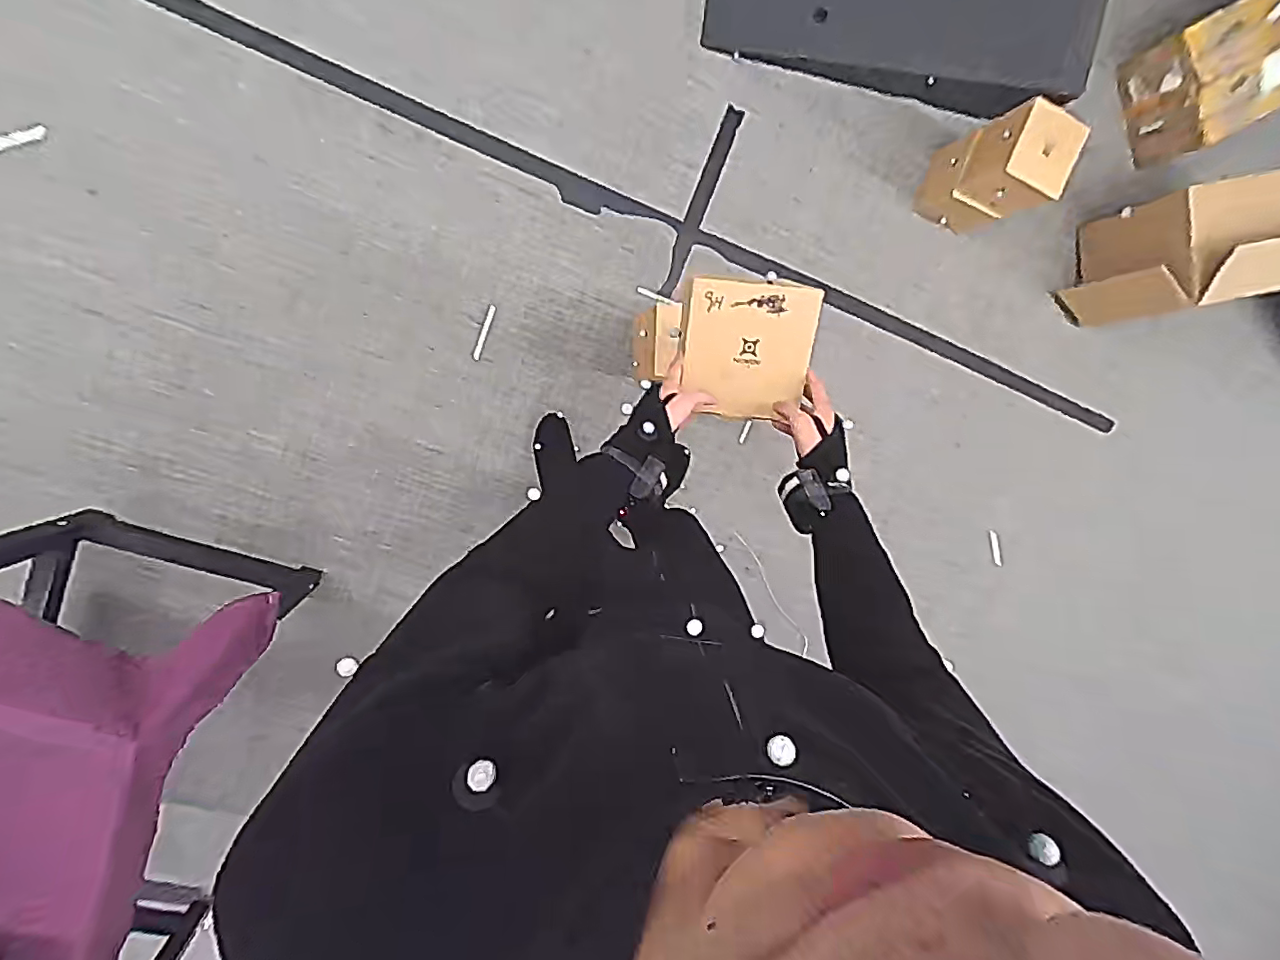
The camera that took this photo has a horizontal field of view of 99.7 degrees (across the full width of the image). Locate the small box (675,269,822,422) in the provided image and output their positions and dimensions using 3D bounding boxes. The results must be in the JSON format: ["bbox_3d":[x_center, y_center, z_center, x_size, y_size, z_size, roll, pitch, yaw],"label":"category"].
[{"bbox_3d":[0.142,-0.199,0.780,0.168,0.176,0.179,5,114,-2],"label":"small box"}]
